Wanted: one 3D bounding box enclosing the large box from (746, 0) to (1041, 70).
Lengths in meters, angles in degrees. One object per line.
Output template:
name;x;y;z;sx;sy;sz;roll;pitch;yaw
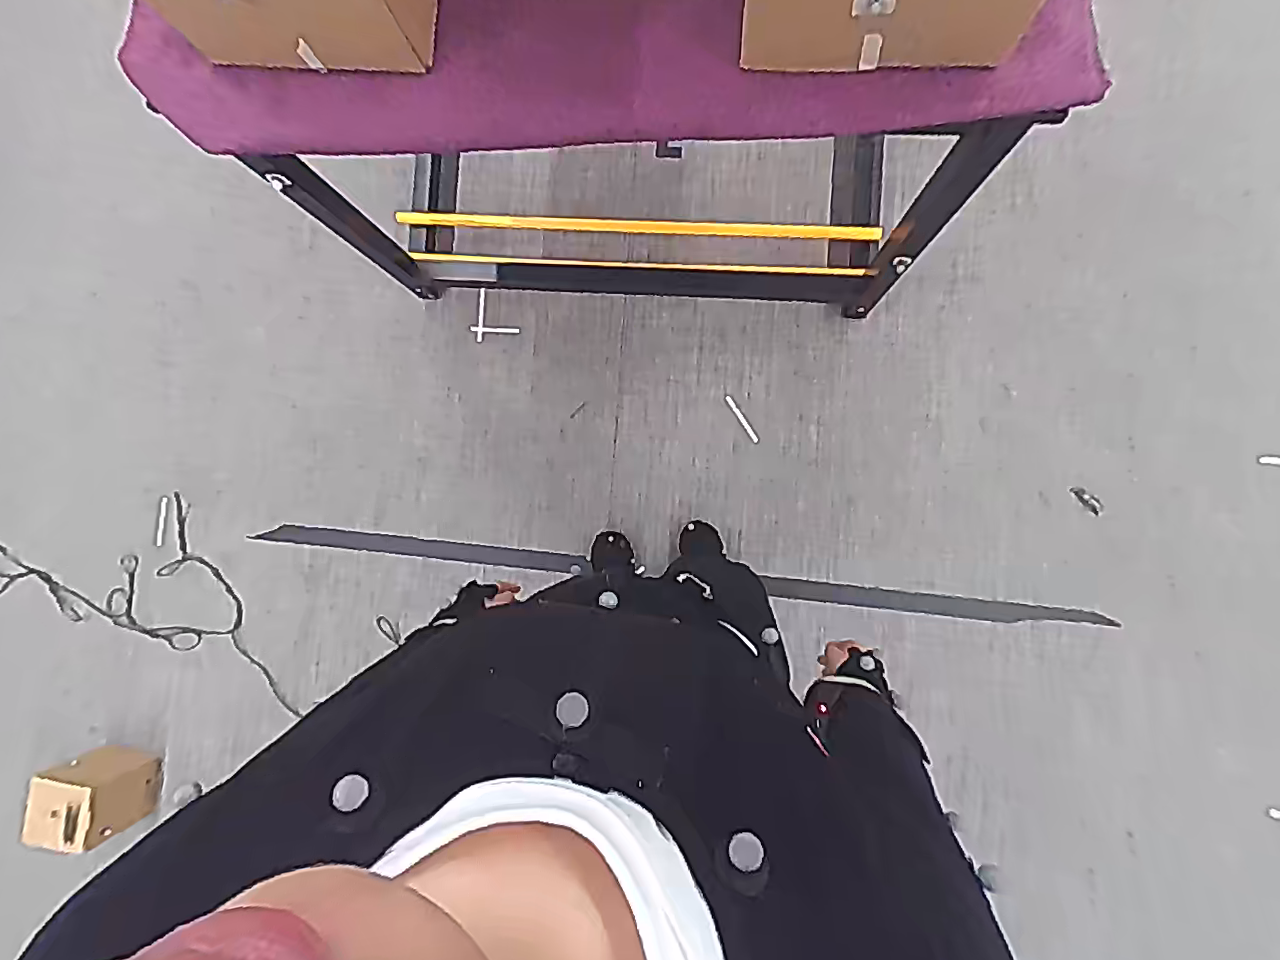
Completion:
large box;0.274;-0.706;0.521;0.320;0.320;0.408;4;86;5
